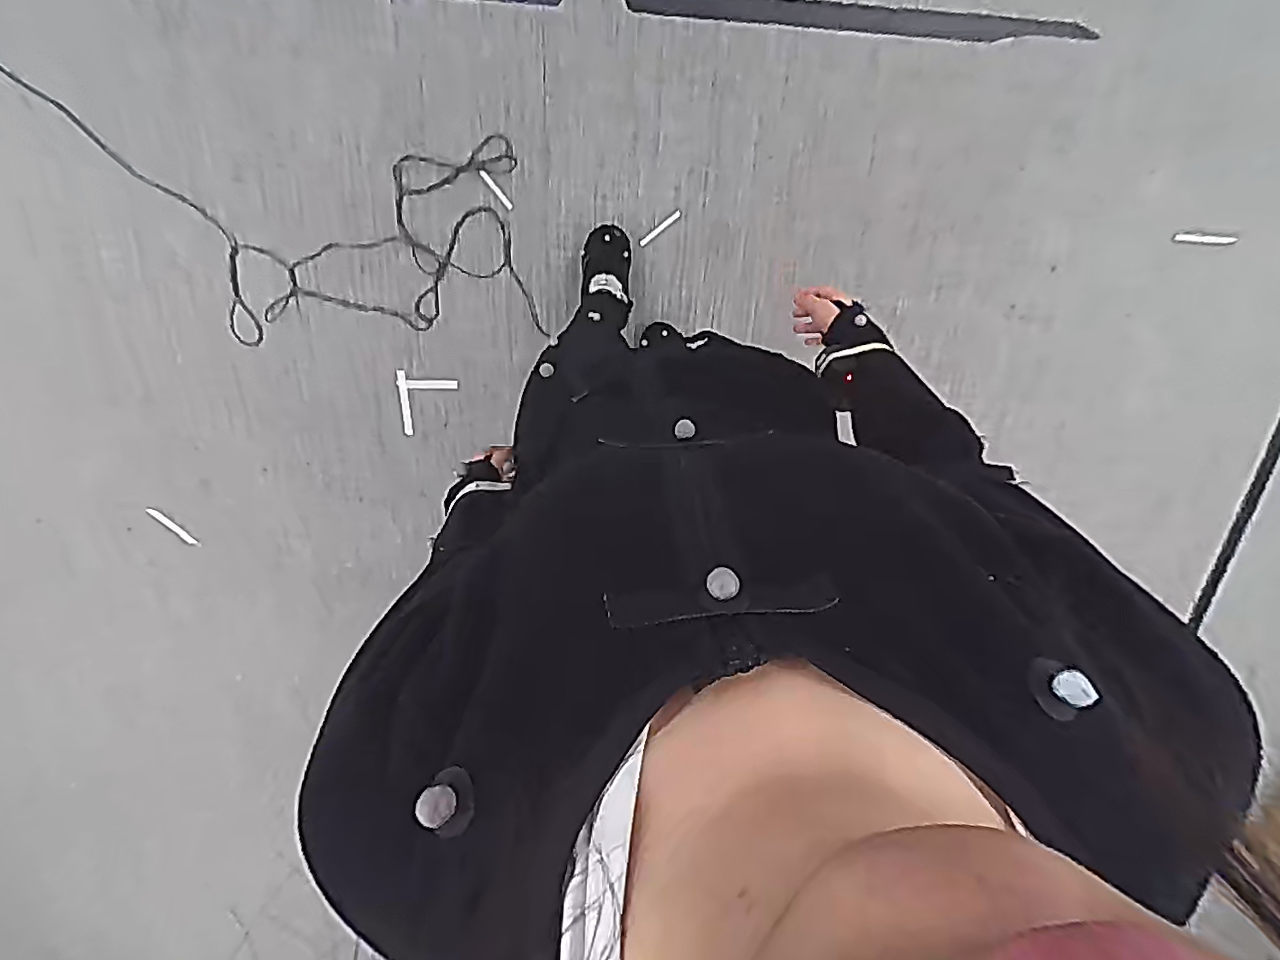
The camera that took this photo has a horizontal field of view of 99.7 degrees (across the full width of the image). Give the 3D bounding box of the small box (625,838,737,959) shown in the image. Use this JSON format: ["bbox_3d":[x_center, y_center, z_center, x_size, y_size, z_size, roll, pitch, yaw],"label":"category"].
[{"bbox_3d":[0.060,0.735,0.907,0.168,0.176,0.179,1,110,-1],"label":"small box"}]

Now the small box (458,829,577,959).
[{"bbox_3d":[-0.195,0.724,0.899,0.168,0.176,0.179,4,109,-3],"label":"small box"}]
